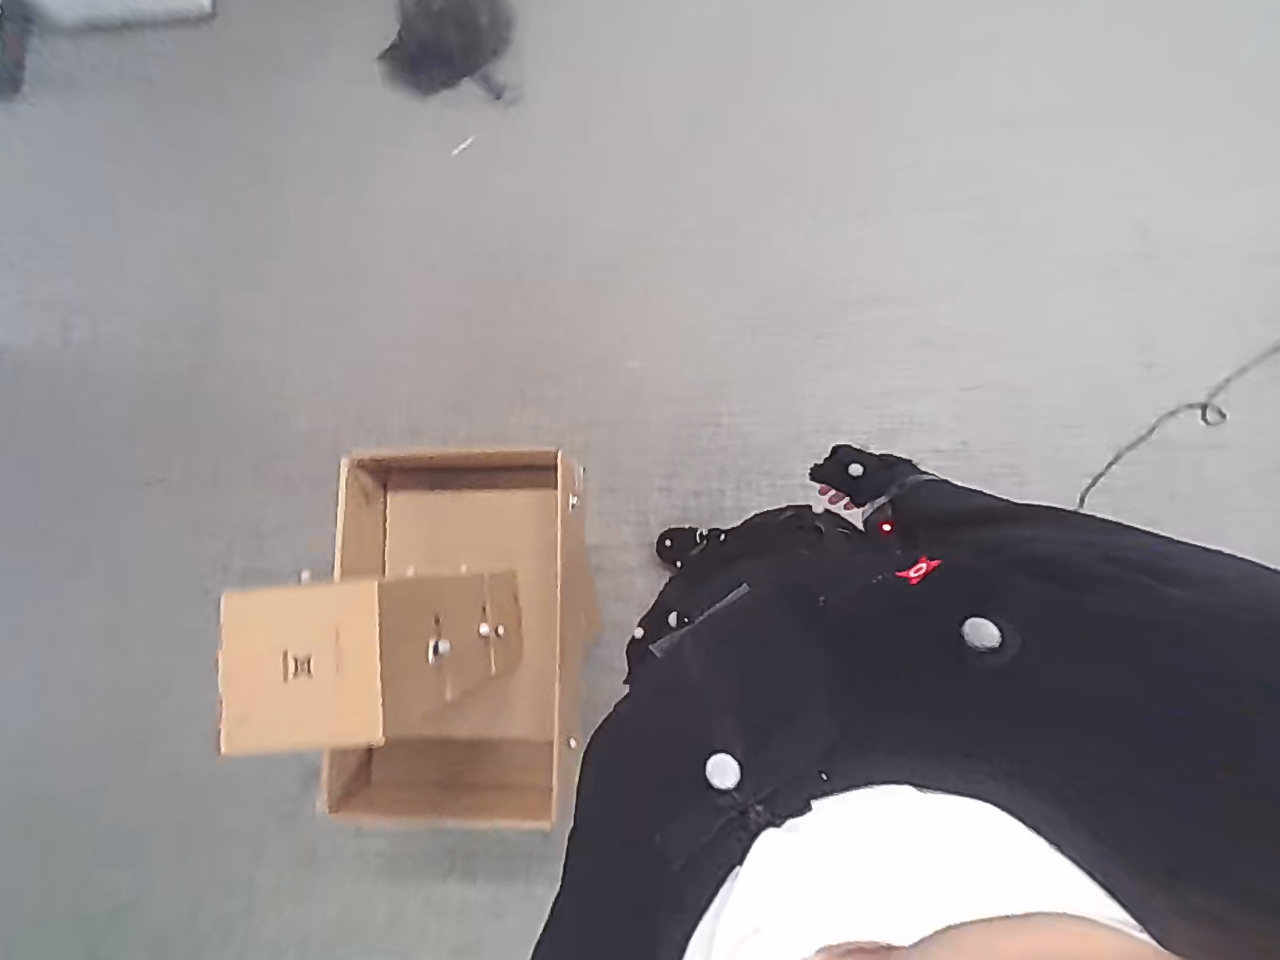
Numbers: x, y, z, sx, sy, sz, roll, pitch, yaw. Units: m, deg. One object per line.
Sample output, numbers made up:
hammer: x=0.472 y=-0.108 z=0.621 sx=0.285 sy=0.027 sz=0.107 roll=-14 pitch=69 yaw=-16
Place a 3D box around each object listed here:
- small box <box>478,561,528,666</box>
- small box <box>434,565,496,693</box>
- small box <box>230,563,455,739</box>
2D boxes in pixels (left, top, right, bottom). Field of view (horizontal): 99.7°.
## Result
small box: x=-0.315 y=0.239 z=0.967 sx=0.179 sy=0.176 sz=0.168 roll=-8 pitch=83 yaw=4
small box: x=-0.330 y=0.217 z=0.805 sx=0.179 sy=0.176 sz=0.168 roll=-7 pitch=83 yaw=3
small box: x=-0.342 y=0.191 z=0.646 sx=0.179 sy=0.176 sz=0.168 roll=-6 pitch=84 yaw=3
